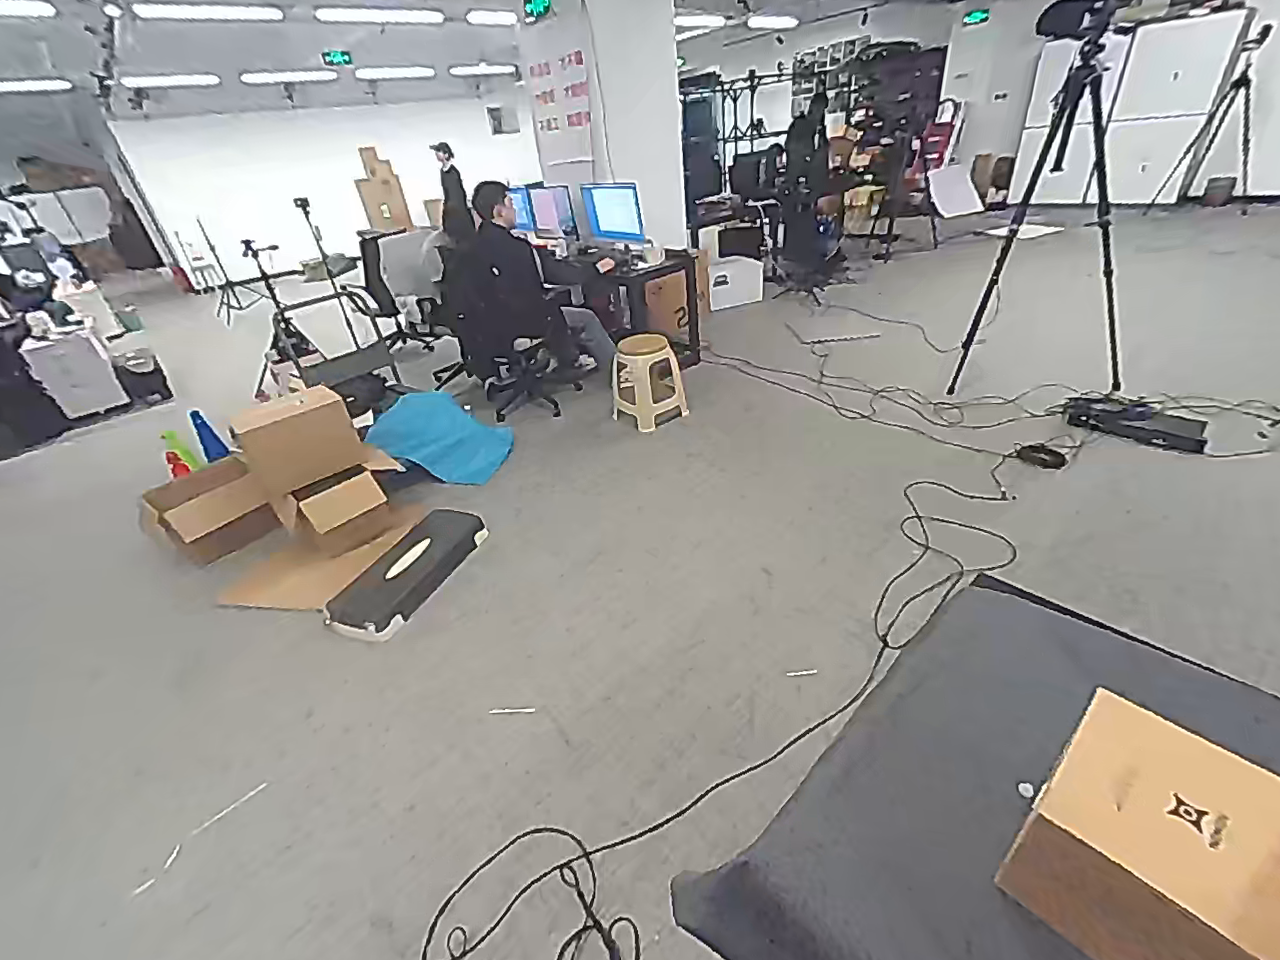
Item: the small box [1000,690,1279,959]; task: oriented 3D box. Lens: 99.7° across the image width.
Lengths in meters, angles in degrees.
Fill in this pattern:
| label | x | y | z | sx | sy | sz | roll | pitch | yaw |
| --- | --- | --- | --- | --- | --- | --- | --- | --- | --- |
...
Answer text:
| label | x | y | z | sx | sy | sz | roll | pitch | yaw |
| --- | --- | --- | --- | --- | --- | --- | --- | --- | --- |
| small box | 0.466 | 0.340 | 0.489 | 0.168 | 0.176 | 0.179 | -34 | 40 | -30 |
